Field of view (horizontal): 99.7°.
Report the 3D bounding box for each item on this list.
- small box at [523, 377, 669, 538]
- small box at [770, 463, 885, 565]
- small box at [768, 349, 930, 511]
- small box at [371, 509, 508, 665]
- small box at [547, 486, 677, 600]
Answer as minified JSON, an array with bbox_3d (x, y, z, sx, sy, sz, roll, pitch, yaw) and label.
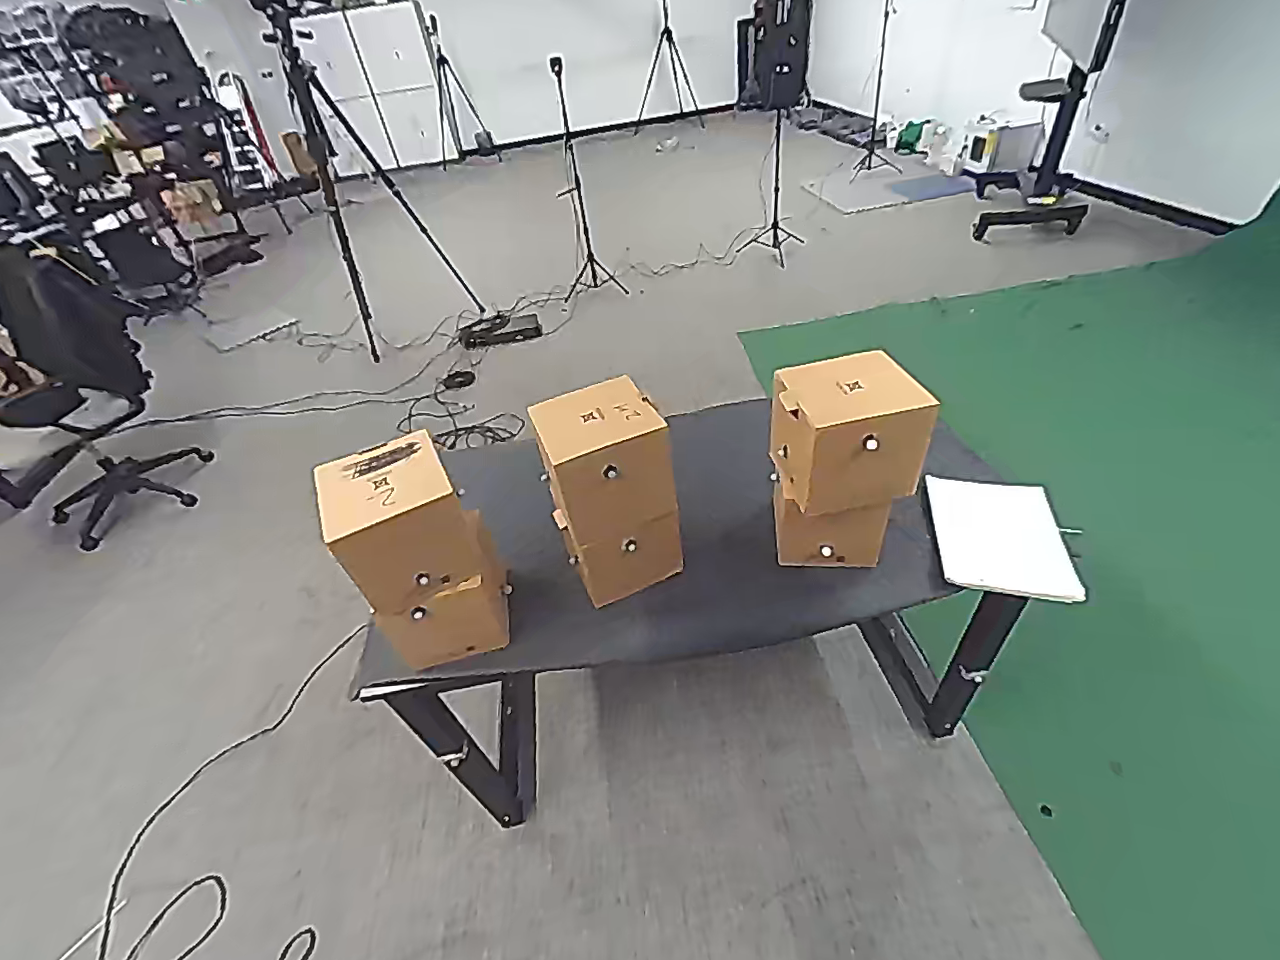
[{"bbox_3d":[-0.066,-0.034,0.864,0.179,0.176,0.168,-20,43,-12],"label":"small box"},{"bbox_3d":[0.322,0.029,0.964,0.168,0.176,0.179,-1,42,11],"label":"small box"},{"bbox_3d":[0.307,-0.077,0.839,0.179,0.176,0.168,-12,41,-1],"label":"small box"},{"bbox_3d":[-0.328,0.181,0.920,0.168,0.176,0.179,-14,42,-5],"label":"small box"},{"bbox_3d":[-0.046,0.086,0.976,0.179,0.176,0.168,-21,43,-14],"label":"small box"}]
